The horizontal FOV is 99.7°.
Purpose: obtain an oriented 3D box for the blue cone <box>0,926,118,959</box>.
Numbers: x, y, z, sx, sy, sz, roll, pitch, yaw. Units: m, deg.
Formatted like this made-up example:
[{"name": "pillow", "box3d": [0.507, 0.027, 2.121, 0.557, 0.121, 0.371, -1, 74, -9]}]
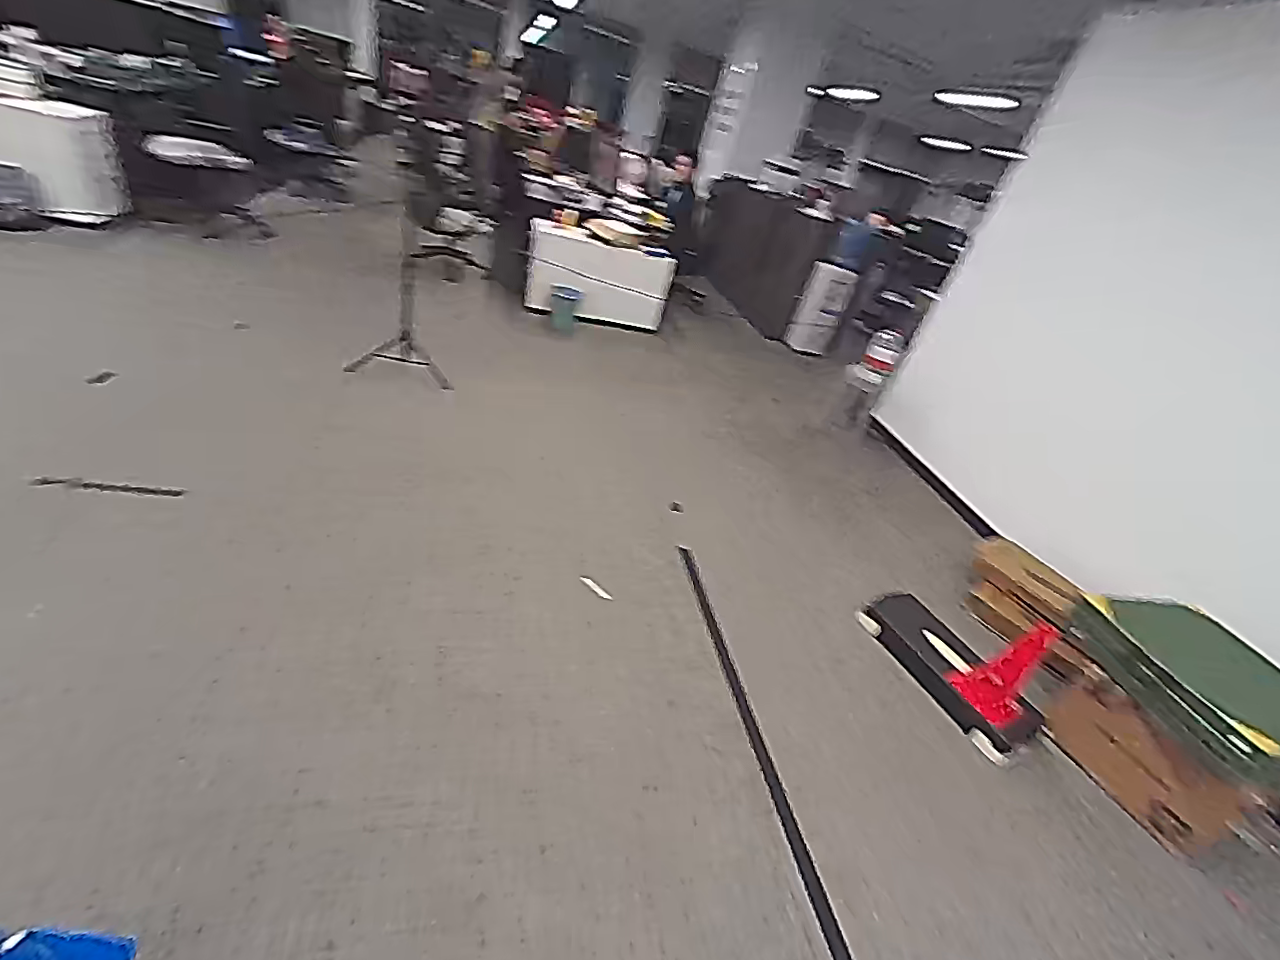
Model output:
[{"name": "blue cone", "box3d": [-0.961, 0.716, 0.786, 0.192, 0.380, 0.193, 14, 33, -4]}]
